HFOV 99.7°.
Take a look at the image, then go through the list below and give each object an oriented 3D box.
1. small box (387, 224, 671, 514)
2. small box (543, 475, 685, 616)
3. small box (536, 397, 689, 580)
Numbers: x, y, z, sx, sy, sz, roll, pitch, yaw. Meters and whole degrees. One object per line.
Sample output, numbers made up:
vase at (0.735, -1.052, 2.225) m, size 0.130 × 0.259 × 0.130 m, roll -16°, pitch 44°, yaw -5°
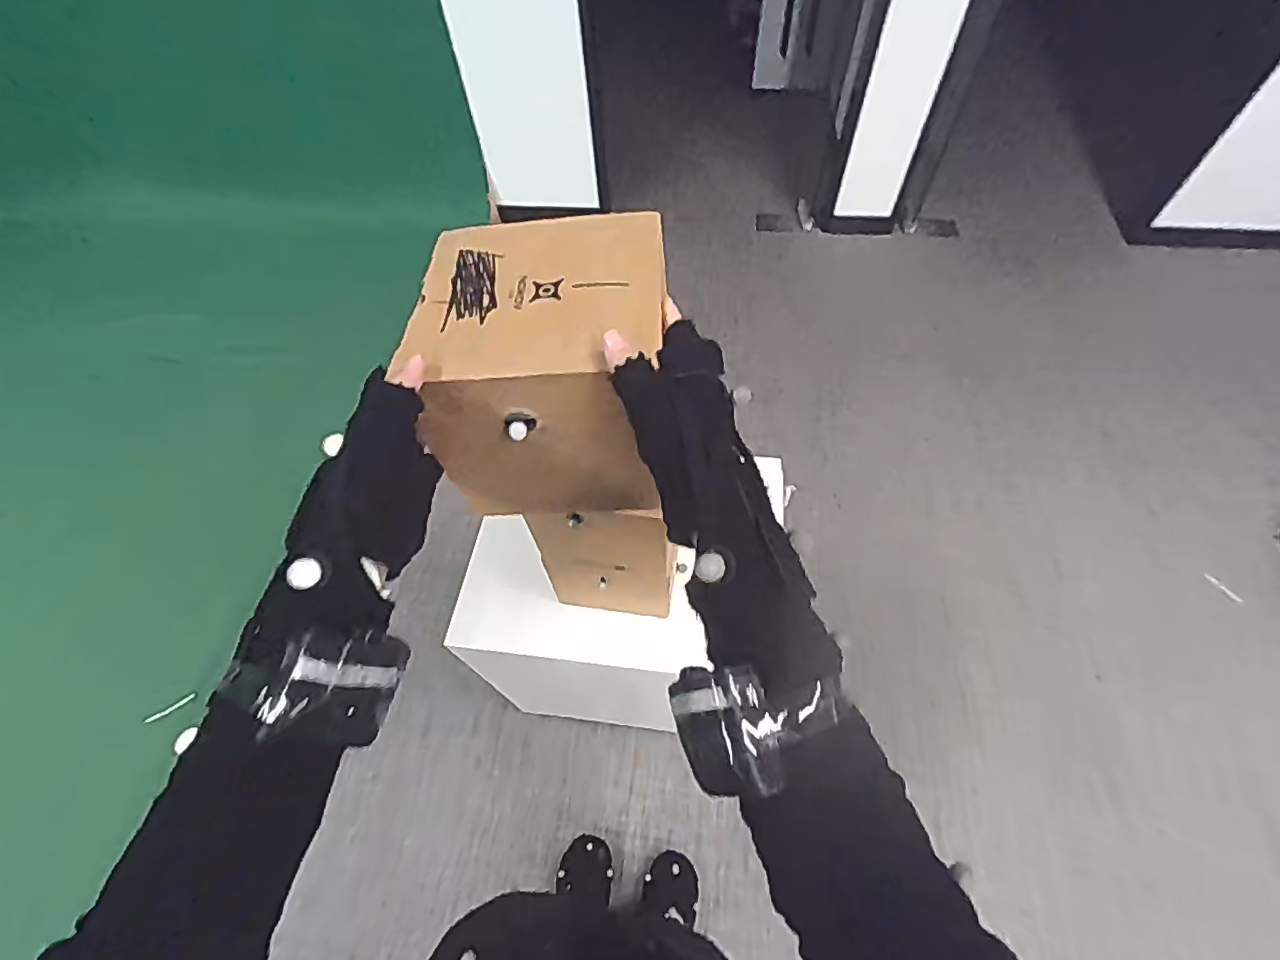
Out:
small box at (-0.068, -0.082, 0.447) m, size 0.179 × 0.176 × 0.168 m, roll -3°, pitch 56°, yaw 5°
small box at (-0.029, 0.094, 0.819) m, size 0.179 × 0.176 × 0.168 m, roll 7°, pitch 58°, yaw 6°
small box at (-0.031, 0.007, 0.684) m, size 0.168 × 0.176 × 0.179 m, roll 6°, pitch 59°, yaw 5°
